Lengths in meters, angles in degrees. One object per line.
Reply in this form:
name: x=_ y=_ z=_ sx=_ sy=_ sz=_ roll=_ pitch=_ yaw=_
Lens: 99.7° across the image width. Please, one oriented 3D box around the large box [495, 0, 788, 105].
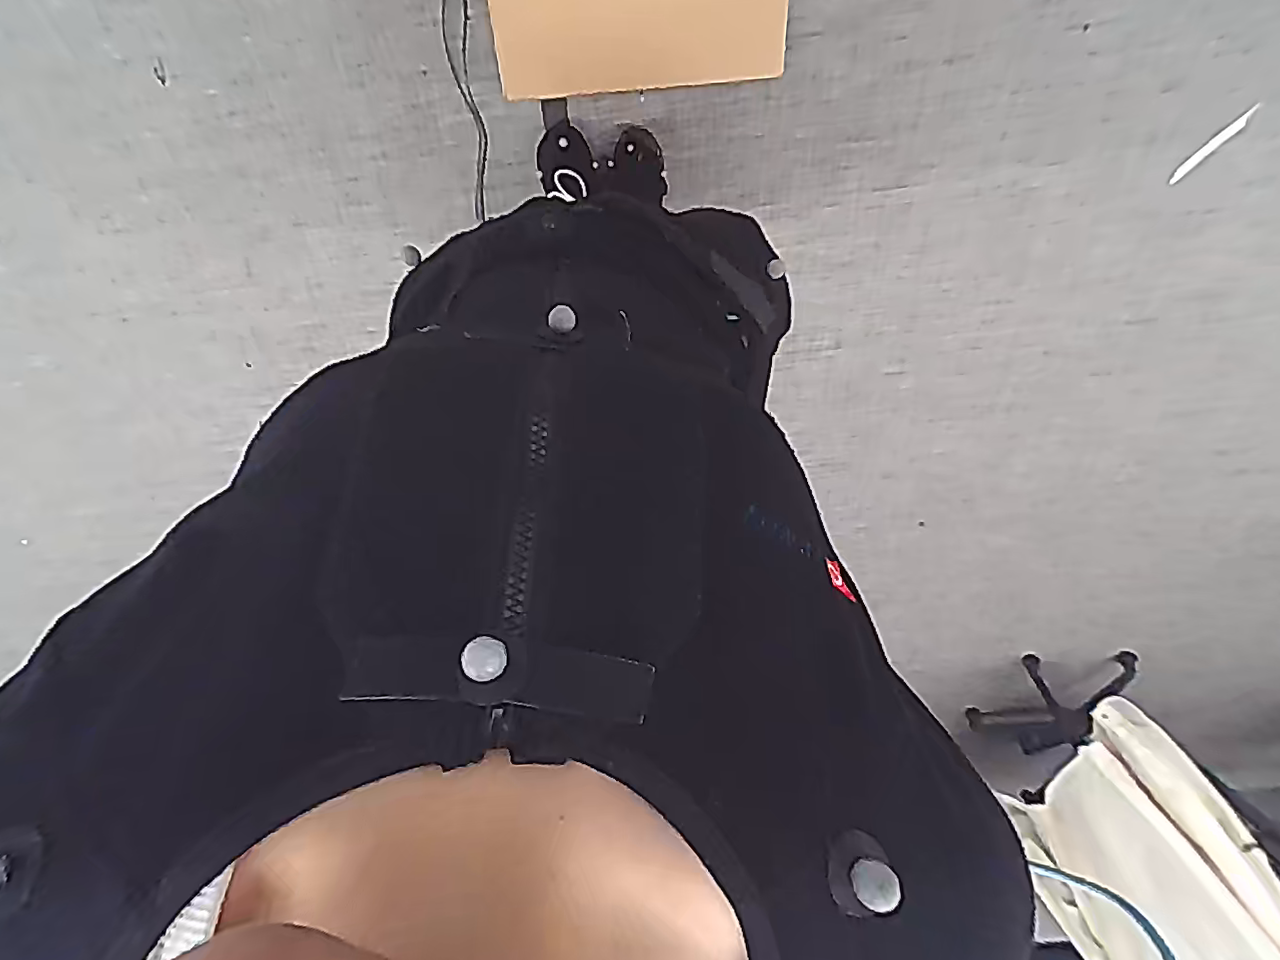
large box: x=-0.006 y=-0.778 z=0.818 sx=0.408 sy=0.320 sz=0.320 roll=-4 pitch=127 yaw=2
